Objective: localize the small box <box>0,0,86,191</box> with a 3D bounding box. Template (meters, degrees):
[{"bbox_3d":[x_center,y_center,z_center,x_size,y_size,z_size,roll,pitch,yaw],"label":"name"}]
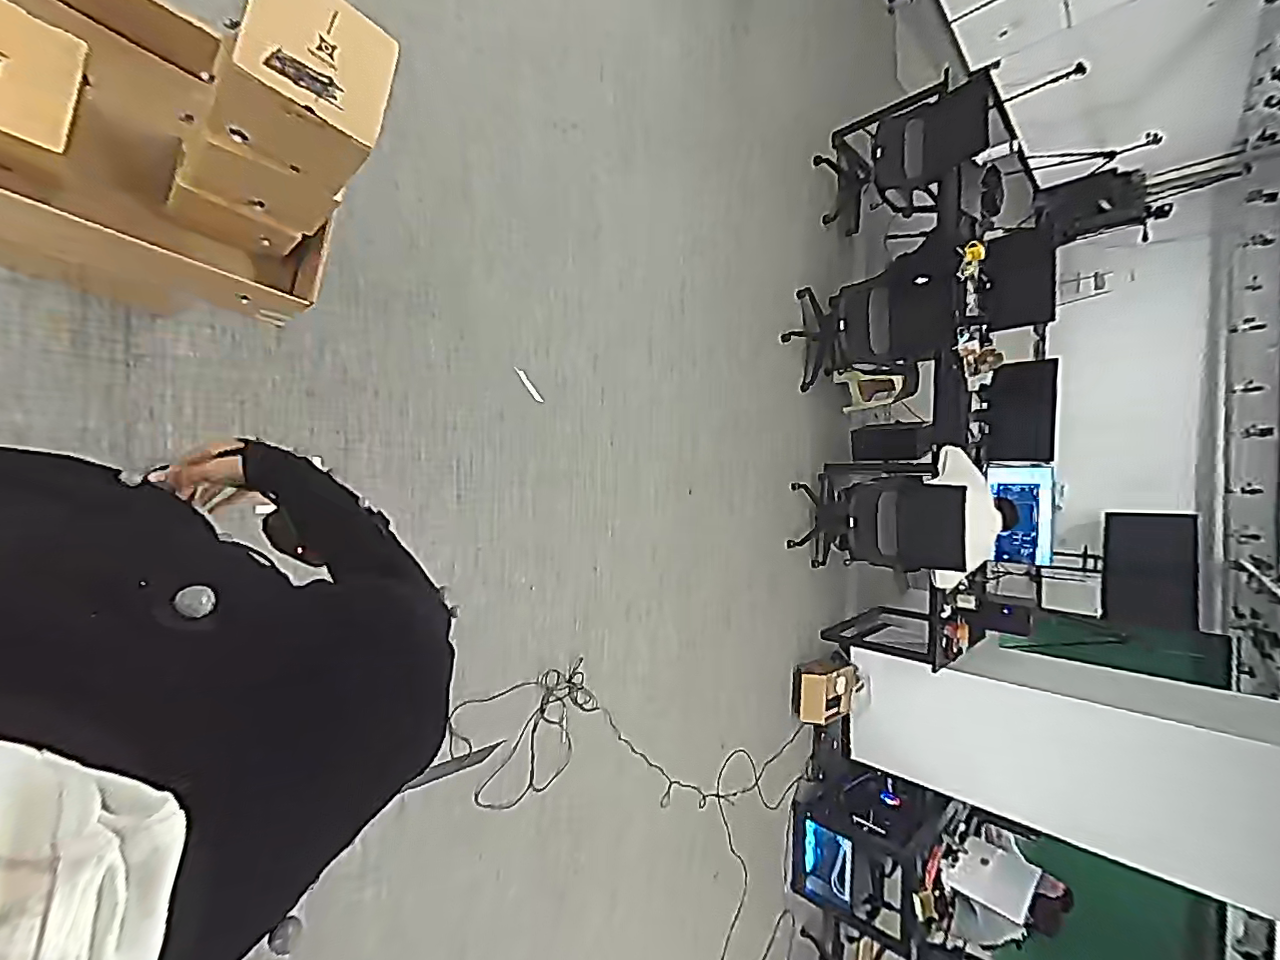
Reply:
[{"bbox_3d":[-0.906,-0.545,0.755,0.168,0.176,0.179,12,81,-46],"label":"small box"}]

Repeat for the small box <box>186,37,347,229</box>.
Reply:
[{"bbox_3d":[-0.581,-0.525,0.855,0.179,0.176,0.168,12,82,-47],"label":"small box"}]

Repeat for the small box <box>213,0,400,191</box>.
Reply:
[{"bbox_3d":[-0.460,-0.540,0.743,0.168,0.176,0.179,17,77,-45],"label":"small box"}]
